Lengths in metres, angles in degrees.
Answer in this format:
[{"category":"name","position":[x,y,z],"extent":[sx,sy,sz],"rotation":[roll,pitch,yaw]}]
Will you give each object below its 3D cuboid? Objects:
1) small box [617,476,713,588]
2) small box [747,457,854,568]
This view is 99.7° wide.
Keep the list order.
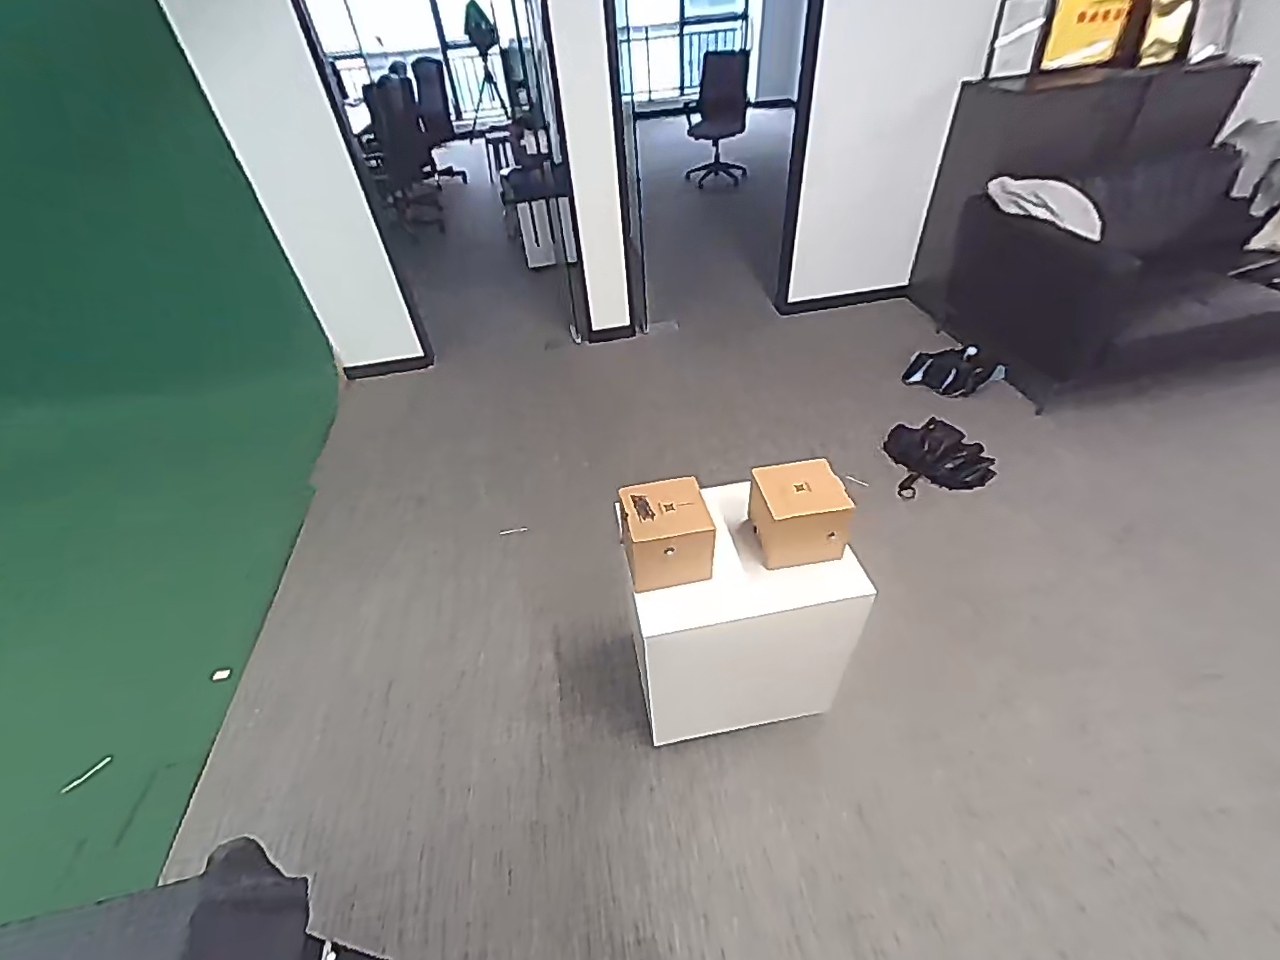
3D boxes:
[{"category":"small box","position":[0.052,0.116,1.183],"extent":[0.179,0.176,0.168],"rotation":[-9,43,-7]},{"category":"small box","position":[0.347,0.074,1.206],"extent":[0.179,0.176,0.168],"rotation":[-9,42,-3]}]
